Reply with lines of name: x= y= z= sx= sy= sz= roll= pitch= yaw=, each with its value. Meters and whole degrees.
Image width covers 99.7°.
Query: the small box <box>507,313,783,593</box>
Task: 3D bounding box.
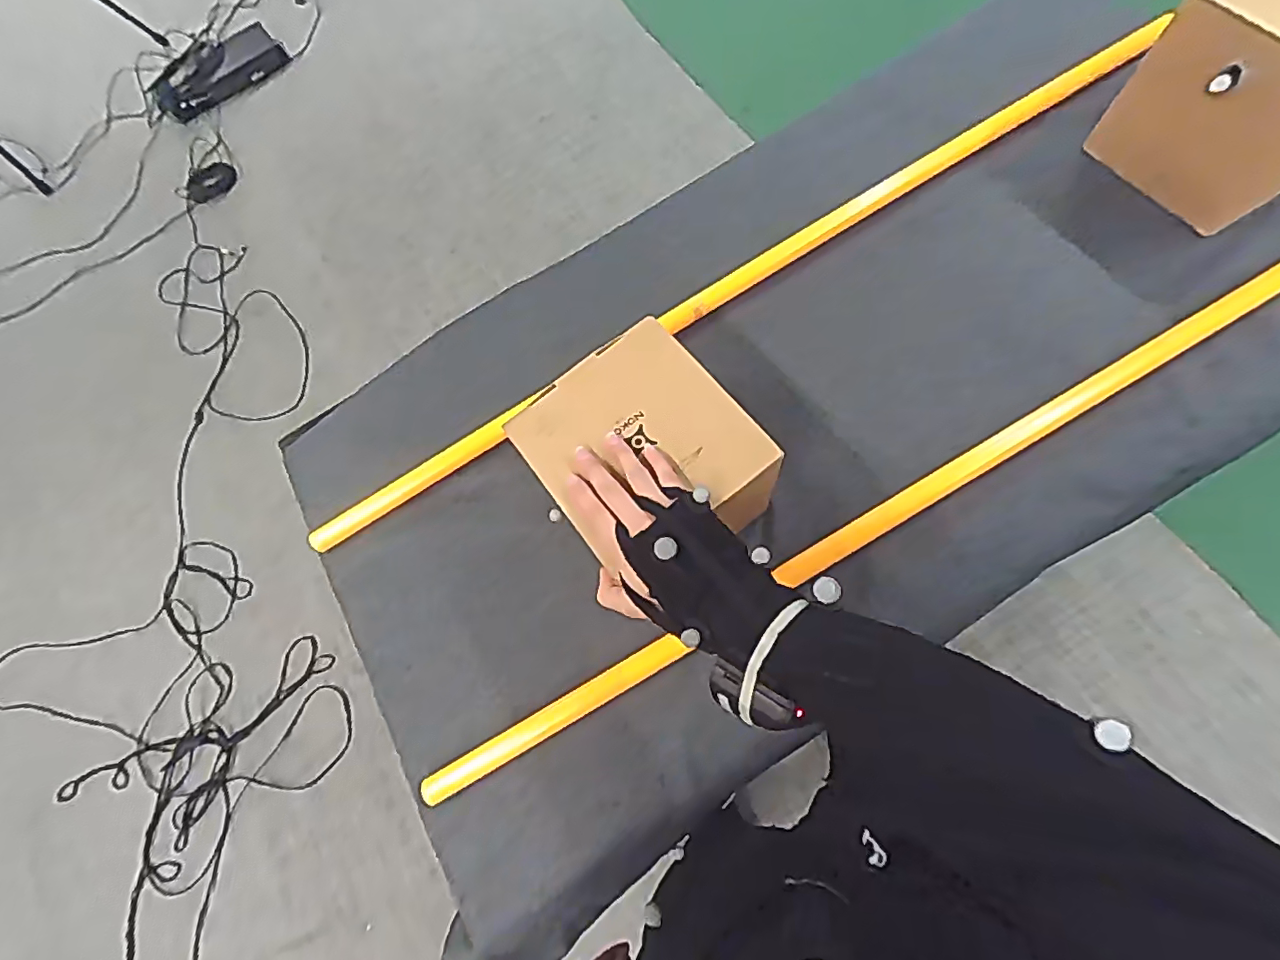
small box: x=0.009 y=-0.012 z=0.515 sx=0.168 sy=0.176 sz=0.179 roll=-39 pitch=71 yaw=-4

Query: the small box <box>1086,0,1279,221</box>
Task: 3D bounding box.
small box: x=0.625 y=-0.397 z=0.546 sx=0.168 sy=0.176 sz=0.179 roll=-32 pitch=69 yaw=-2
